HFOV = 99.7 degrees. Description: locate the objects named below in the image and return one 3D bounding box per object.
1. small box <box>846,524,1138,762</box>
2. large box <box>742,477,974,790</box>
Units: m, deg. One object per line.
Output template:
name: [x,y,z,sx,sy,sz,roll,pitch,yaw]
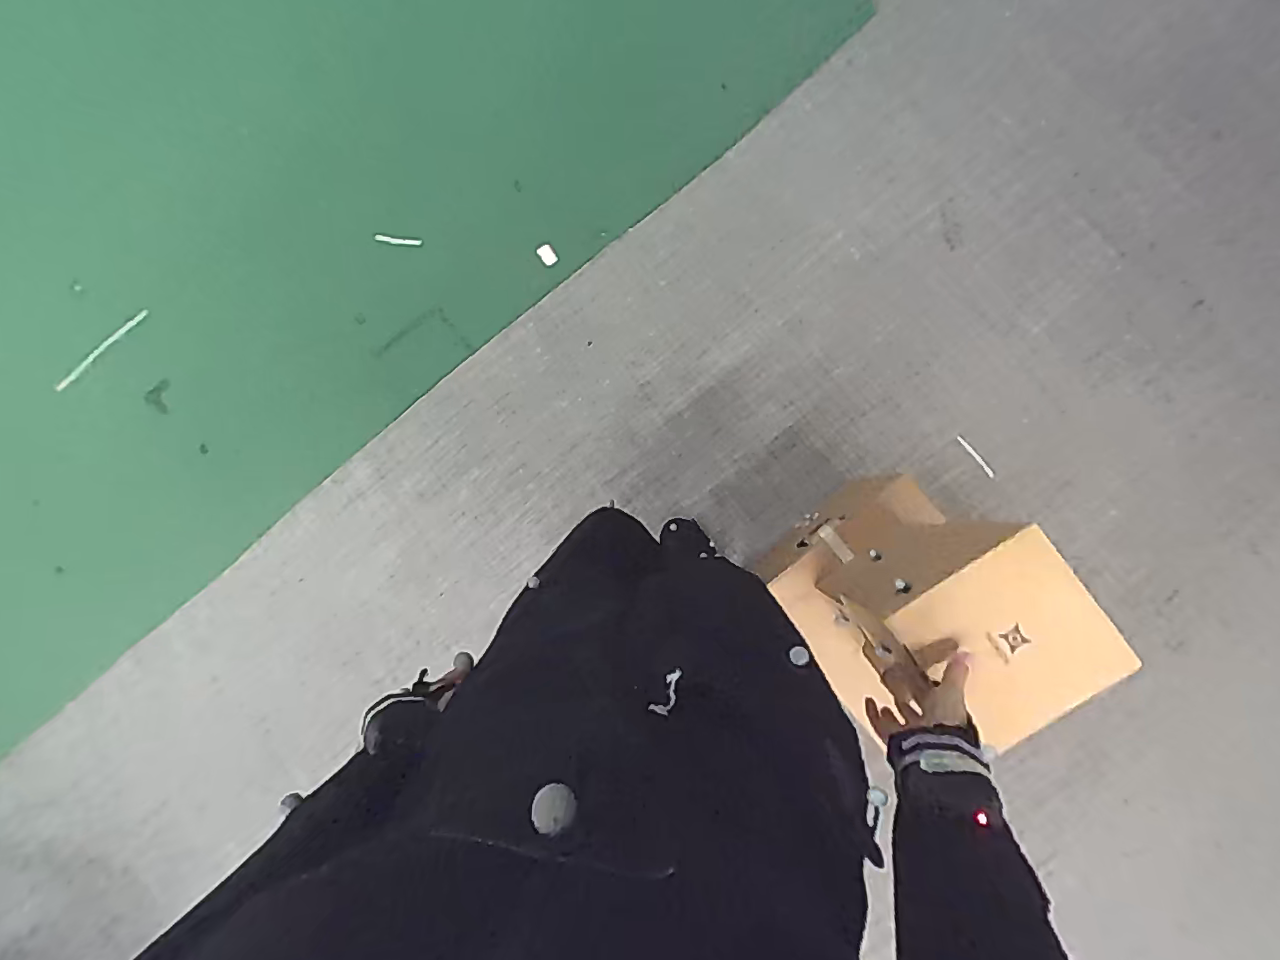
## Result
small box: [0.363,0.160,0.599,0.179,0.176,0.168,-34,85,4]
large box: [0.444,0.242,0.996,0.320,0.320,0.408,-40,85,4]
